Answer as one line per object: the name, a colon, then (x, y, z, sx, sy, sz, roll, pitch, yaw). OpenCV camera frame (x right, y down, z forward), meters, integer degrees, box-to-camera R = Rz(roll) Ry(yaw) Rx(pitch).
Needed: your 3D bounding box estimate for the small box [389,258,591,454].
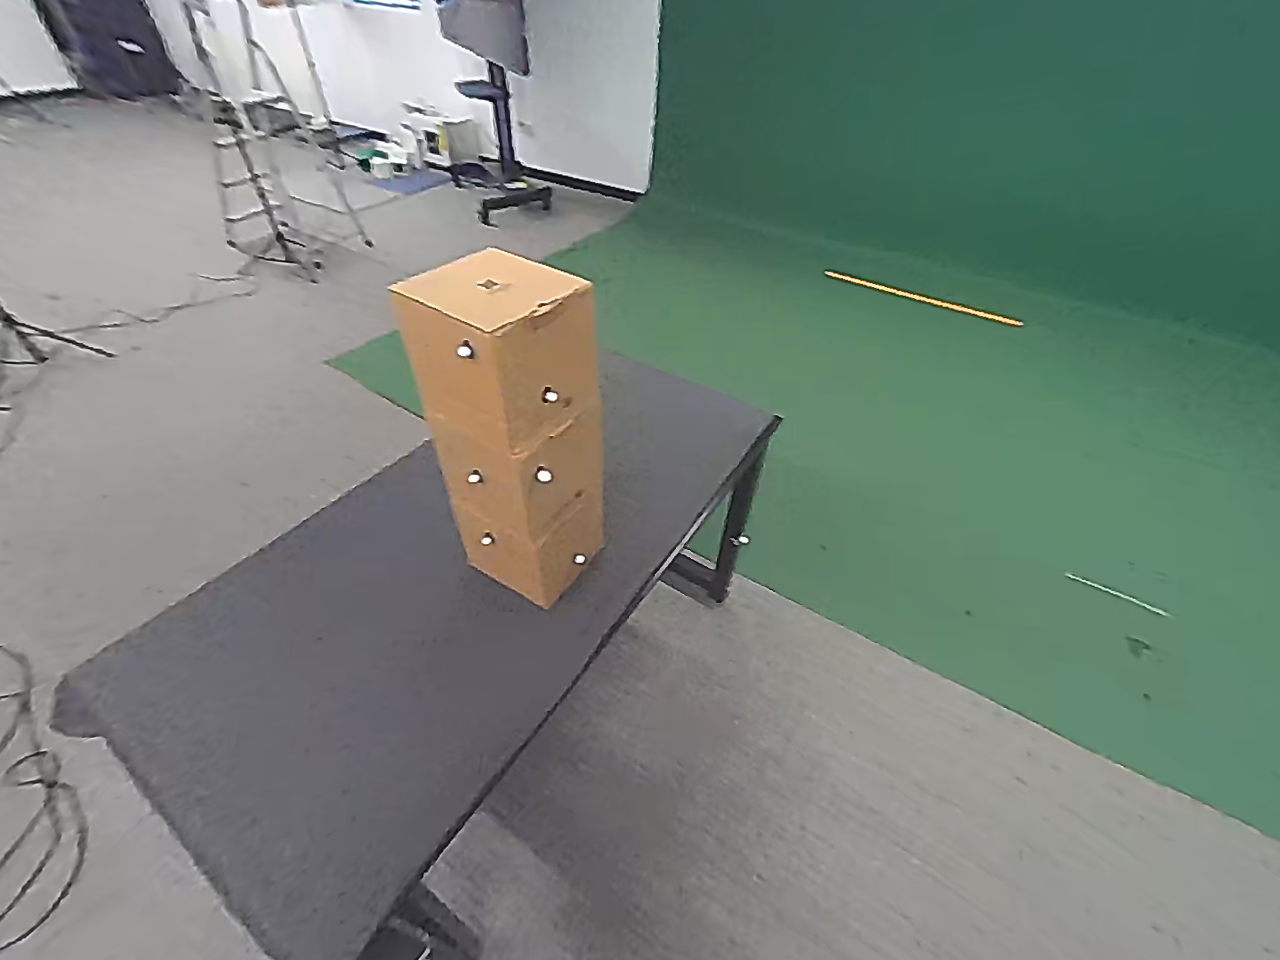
small box: (-0.180, -0.160, 0.693, 0.179, 0.176, 0.168, 27, 48, 23)

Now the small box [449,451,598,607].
small box: (-0.187, 0.082, 0.912, 0.179, 0.176, 0.168, 25, 48, 21)
